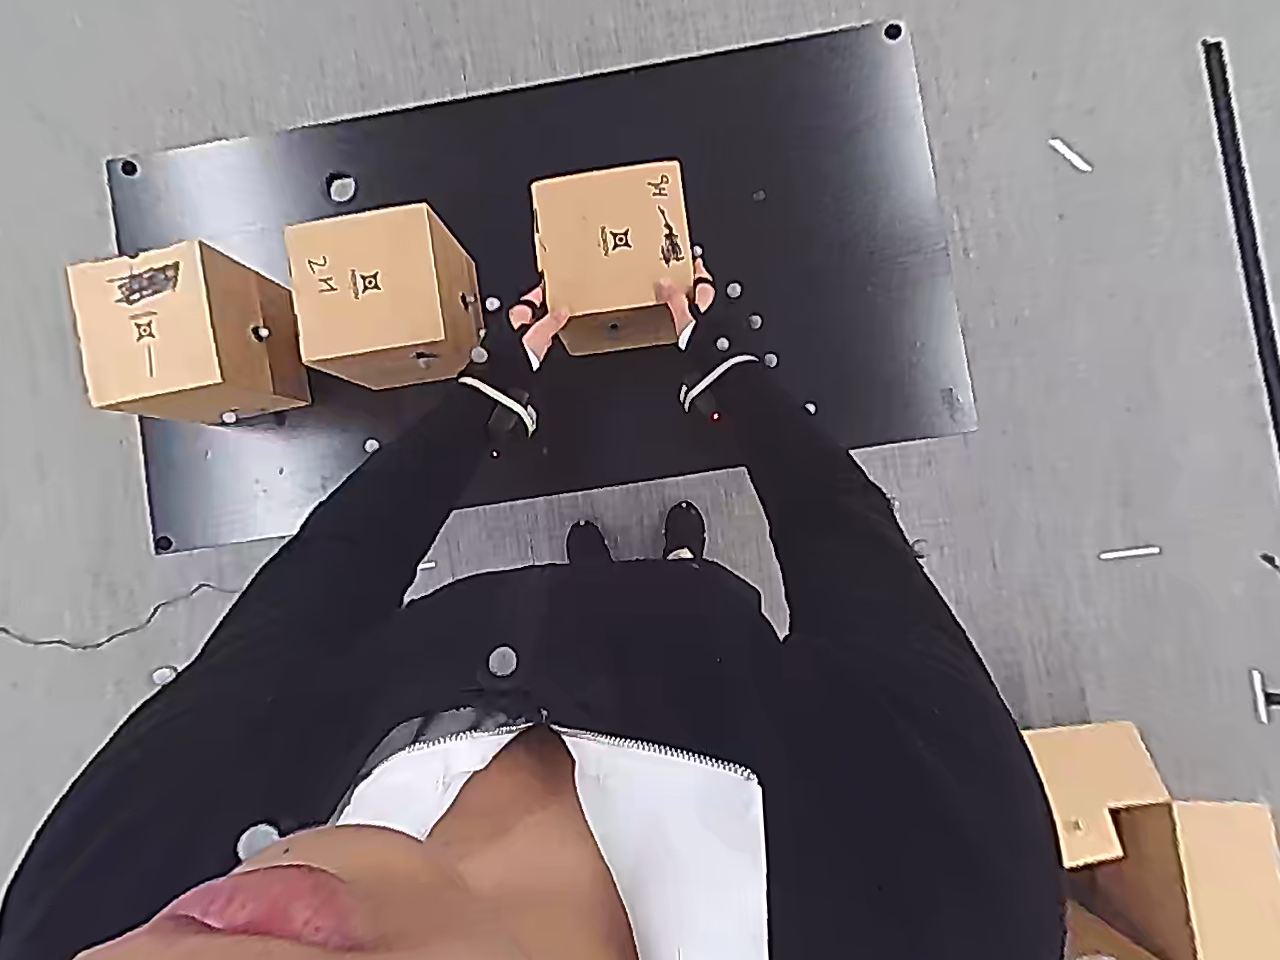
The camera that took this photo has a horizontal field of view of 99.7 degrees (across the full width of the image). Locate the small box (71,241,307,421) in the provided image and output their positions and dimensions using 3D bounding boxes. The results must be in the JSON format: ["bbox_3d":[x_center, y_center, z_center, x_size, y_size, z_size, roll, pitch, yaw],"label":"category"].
[{"bbox_3d":[-0.587,-0.187,0.726,0.168,0.176,0.179,-11,89,2],"label":"small box"}]

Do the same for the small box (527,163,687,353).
[{"bbox_3d":[-0.034,-0.275,0.709,0.179,0.176,0.168,-7,88,3],"label":"small box"}]

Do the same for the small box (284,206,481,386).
[{"bbox_3d":[-0.323,-0.230,0.717,0.179,0.176,0.168,-9,88,2],"label":"small box"}]
